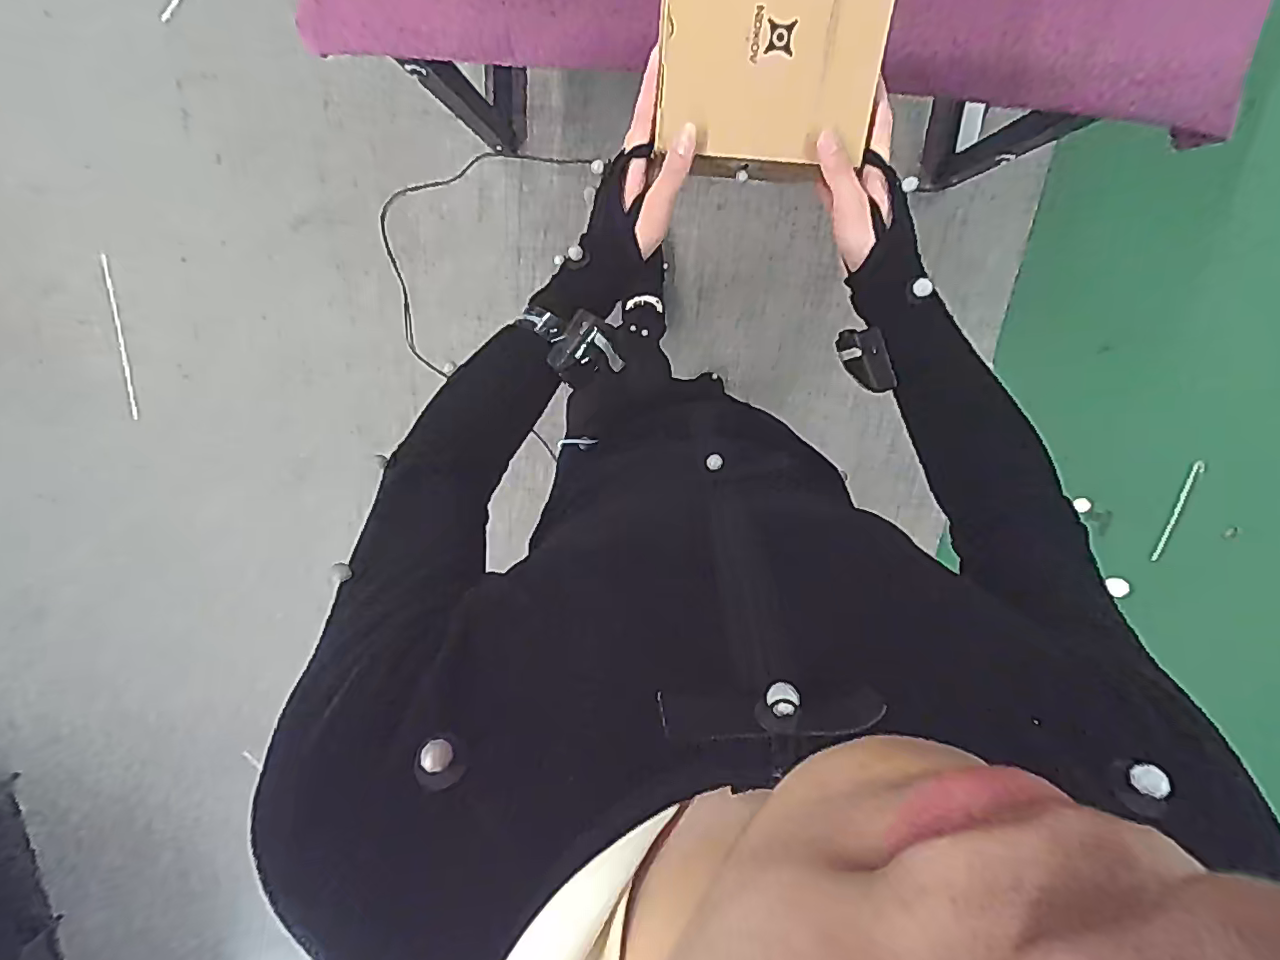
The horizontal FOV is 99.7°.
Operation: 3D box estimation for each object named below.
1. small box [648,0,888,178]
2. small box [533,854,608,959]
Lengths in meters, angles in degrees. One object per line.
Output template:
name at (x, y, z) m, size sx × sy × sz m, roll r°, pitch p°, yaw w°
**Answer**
small box at (0.100, -0.379, 0.488) m, size 0.179 × 0.176 × 0.168 m, roll 4°, pitch 114°, yaw -2°
small box at (-0.186, 1.182, 1.485) m, size 0.168 × 0.176 × 0.179 m, roll 9°, pitch 106°, yaw 2°
